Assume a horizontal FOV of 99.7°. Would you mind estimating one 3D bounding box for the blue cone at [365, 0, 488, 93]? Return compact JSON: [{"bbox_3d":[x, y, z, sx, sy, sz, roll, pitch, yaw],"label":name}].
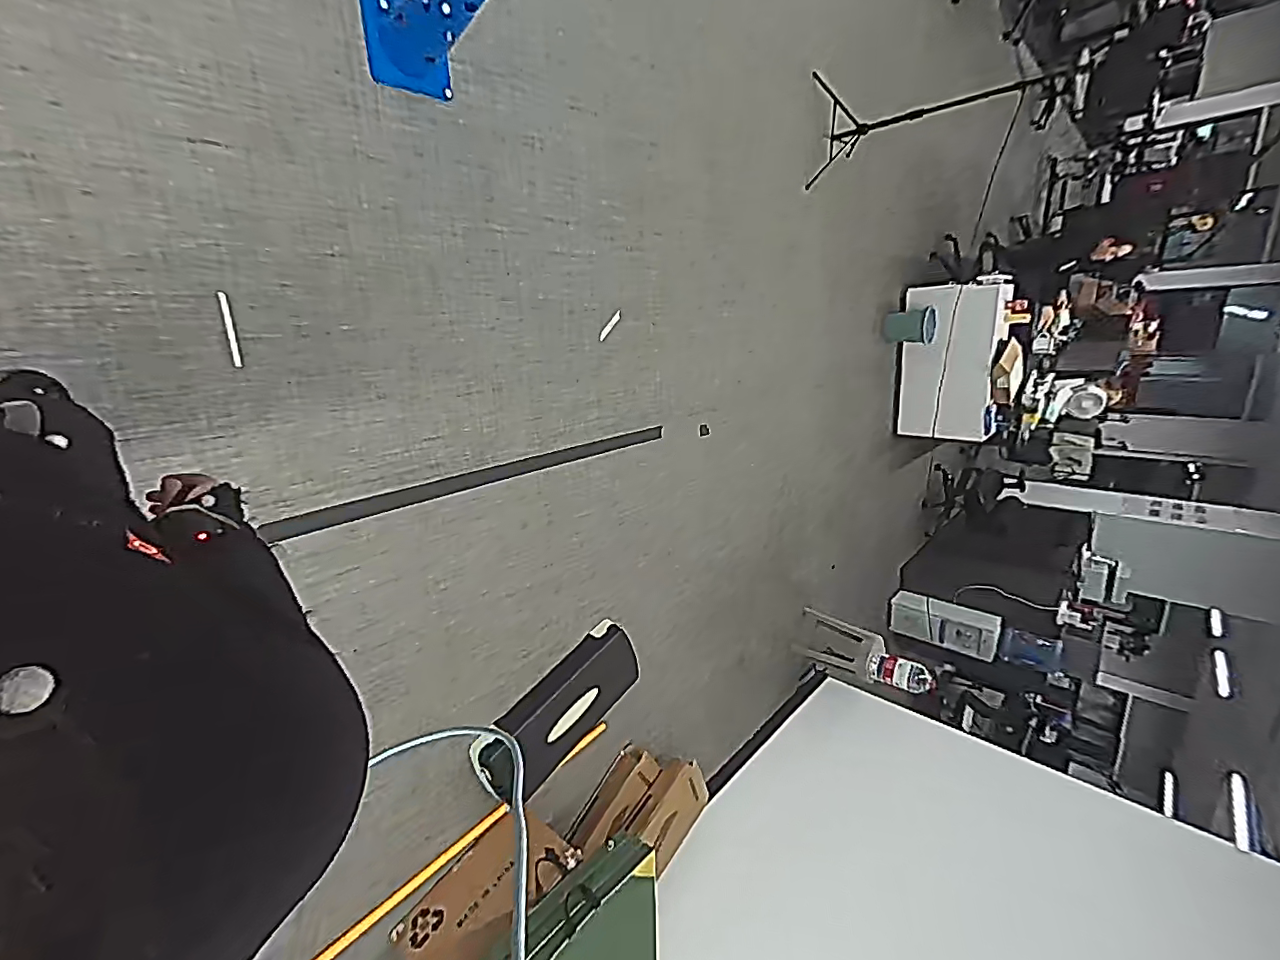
[{"bbox_3d":[-0.422,-1.012,1.162,0.192,0.380,0.193,-17,111,-45],"label":"blue cone"}]
